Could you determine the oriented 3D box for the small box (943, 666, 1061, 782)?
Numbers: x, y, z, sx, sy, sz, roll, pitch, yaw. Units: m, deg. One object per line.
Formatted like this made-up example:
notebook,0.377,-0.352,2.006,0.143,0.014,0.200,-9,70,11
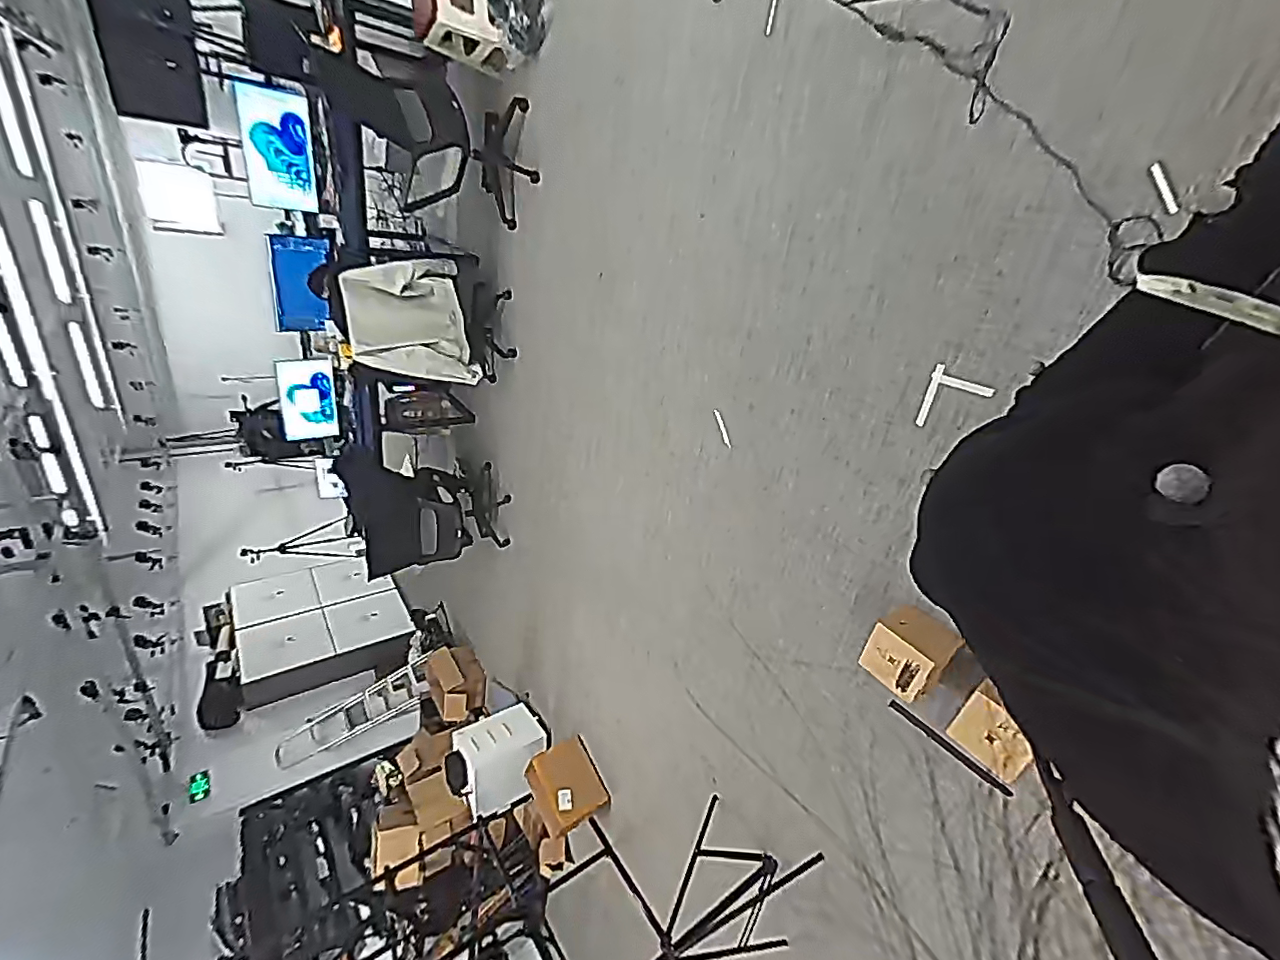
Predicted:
small box,0.923,0.614,1.375,0.168,0.176,0.179,40,129,40
